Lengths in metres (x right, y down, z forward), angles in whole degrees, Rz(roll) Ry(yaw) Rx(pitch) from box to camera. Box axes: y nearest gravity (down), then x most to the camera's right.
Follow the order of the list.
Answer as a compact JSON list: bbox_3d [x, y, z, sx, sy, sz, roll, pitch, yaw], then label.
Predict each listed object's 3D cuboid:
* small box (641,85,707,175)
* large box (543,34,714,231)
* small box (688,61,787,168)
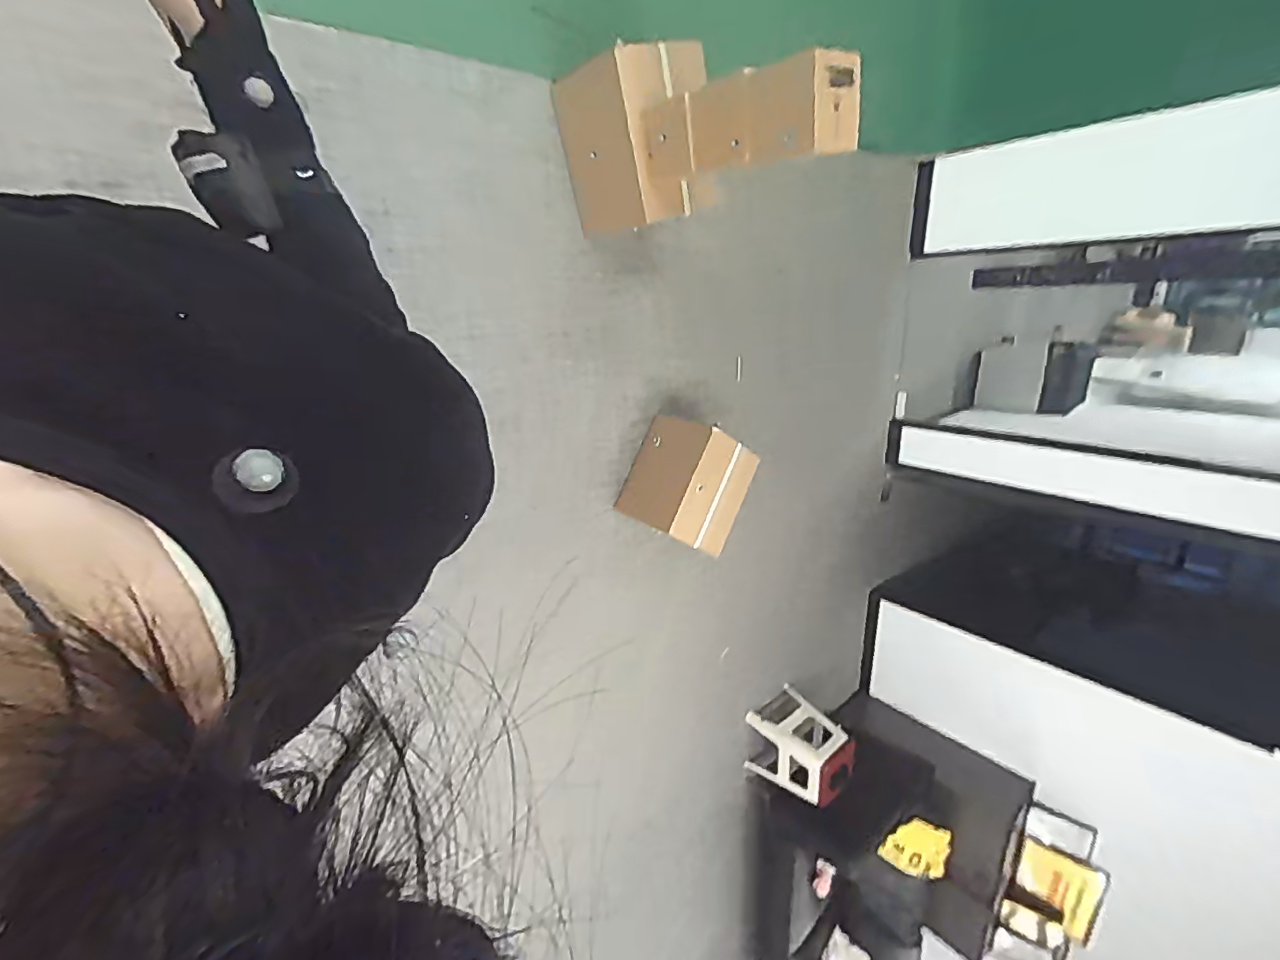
[{"bbox_3d":[0.116,-0.886,1.381,0.179,0.176,0.168,-26,120,-34],"label":"small box"},{"bbox_3d":[-0.027,-0.981,1.562,0.320,0.320,0.408,-32,122,-32],"label":"large box"},{"bbox_3d":[0.227,-0.847,1.270,0.168,0.176,0.179,-24,120,-34],"label":"small box"}]
